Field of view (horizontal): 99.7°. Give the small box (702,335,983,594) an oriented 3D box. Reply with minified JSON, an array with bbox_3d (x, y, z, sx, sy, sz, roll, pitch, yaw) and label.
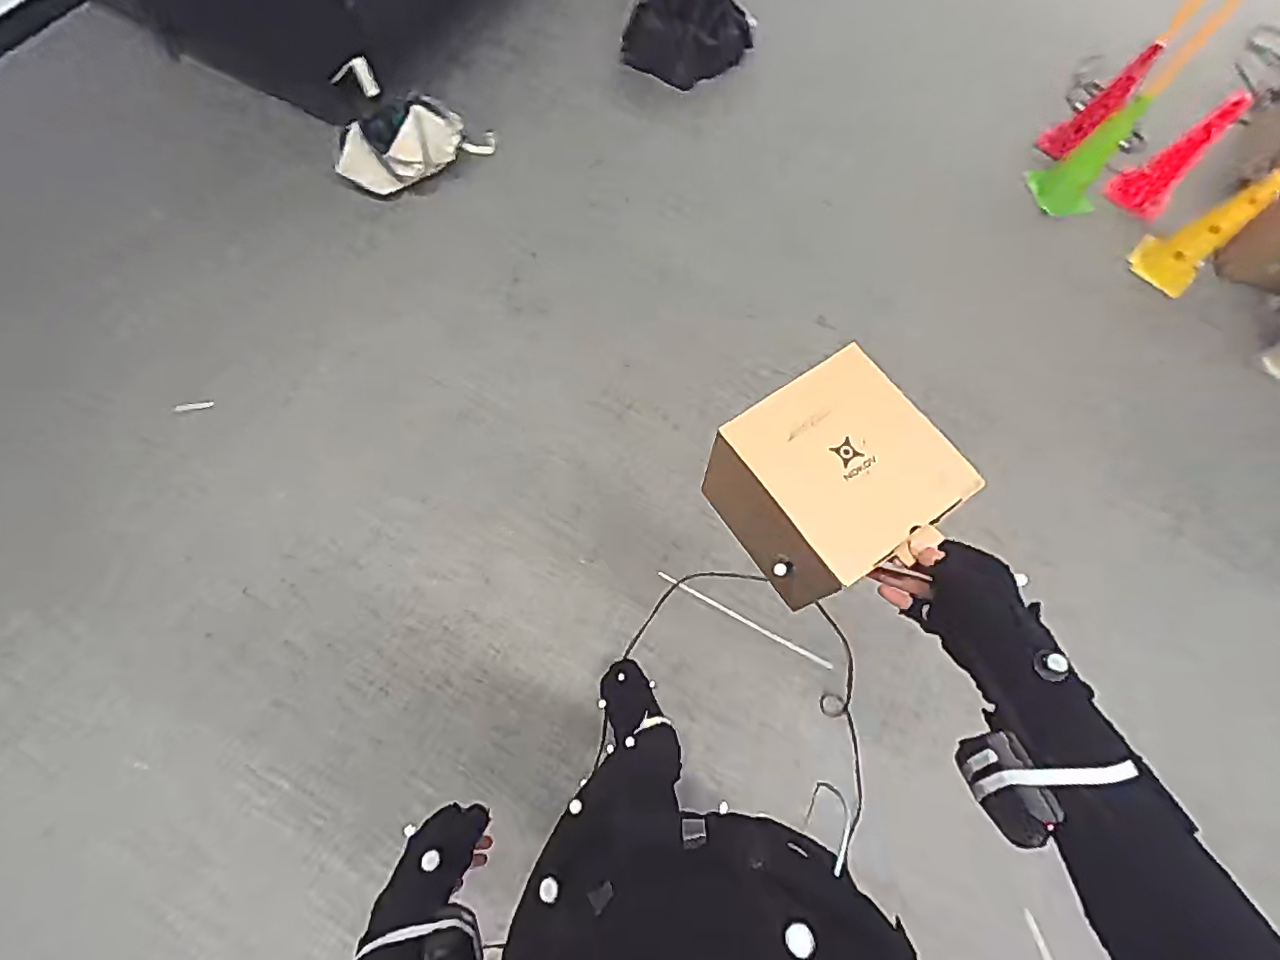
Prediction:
[{"bbox_3d":[0.179,-0.001,0.541,0.168,0.176,0.179,-33,72,-10],"label":"small box"}]
